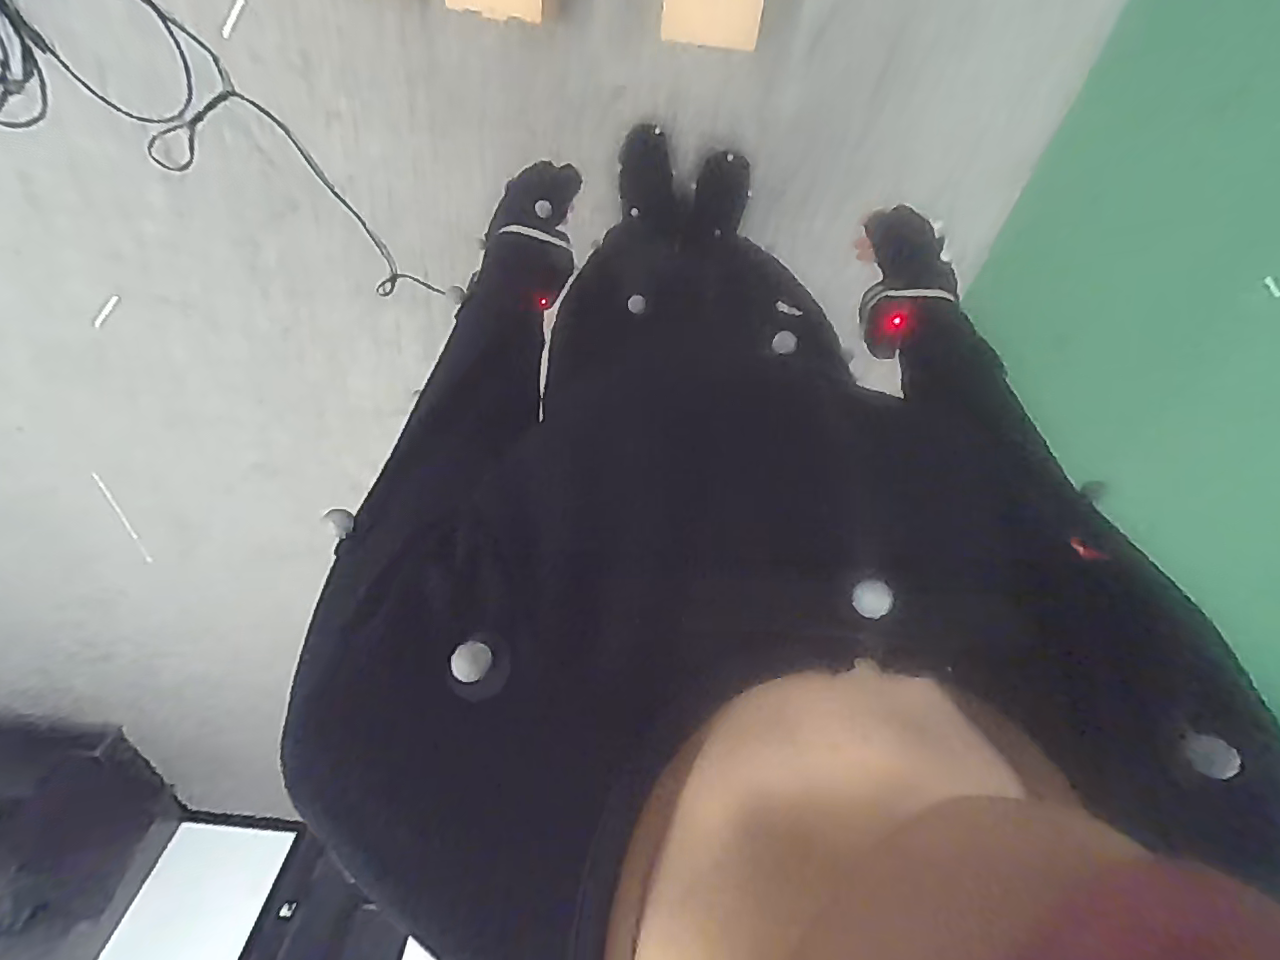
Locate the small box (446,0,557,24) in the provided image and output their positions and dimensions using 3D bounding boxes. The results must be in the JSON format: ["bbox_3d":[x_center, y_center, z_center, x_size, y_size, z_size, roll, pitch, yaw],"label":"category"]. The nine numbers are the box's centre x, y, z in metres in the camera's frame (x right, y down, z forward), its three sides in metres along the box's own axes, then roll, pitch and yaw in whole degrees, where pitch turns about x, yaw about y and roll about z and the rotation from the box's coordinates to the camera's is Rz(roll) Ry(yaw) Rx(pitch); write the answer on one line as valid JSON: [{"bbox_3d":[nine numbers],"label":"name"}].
[{"bbox_3d":[-0.234,-0.910,0.926,0.168,0.176,0.179,7,130,-3],"label":"small box"}]

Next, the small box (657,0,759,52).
[{"bbox_3d":[0.123,-0.867,0.939,0.168,0.176,0.179,5,129,-2],"label":"small box"}]
